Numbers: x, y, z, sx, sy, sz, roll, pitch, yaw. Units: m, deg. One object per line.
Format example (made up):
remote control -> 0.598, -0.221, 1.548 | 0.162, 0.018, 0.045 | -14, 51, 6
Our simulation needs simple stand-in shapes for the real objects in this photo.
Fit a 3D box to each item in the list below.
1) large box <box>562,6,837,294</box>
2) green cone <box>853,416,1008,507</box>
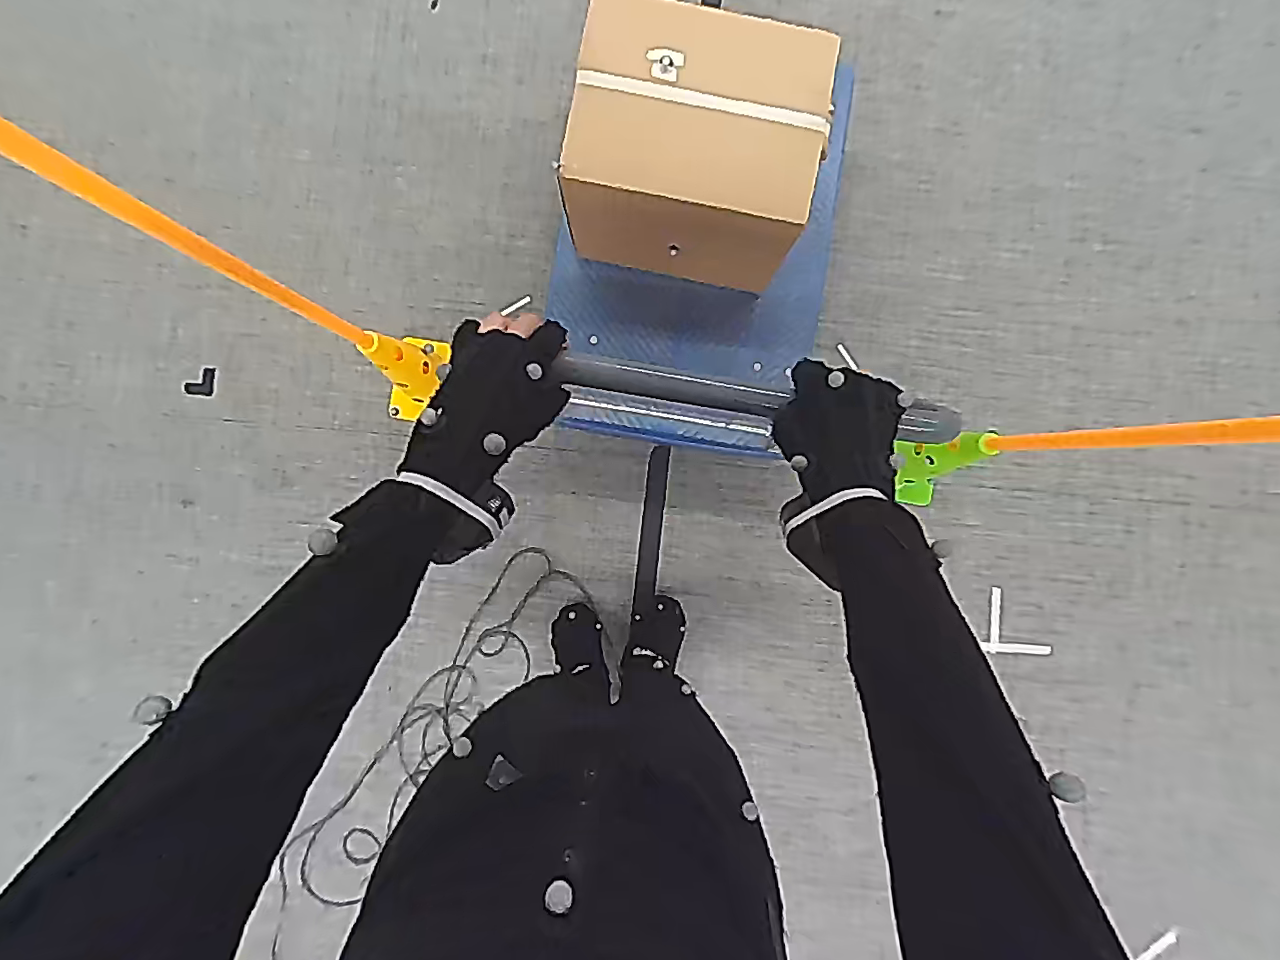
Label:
large box -> 0.098, -0.580, 1.017 | 0.408, 0.320, 0.320 | 11, 89, 0
green cone -> 0.632, -0.049, 1.149 | 0.202, 0.368, 0.200 | 10, 88, -1
